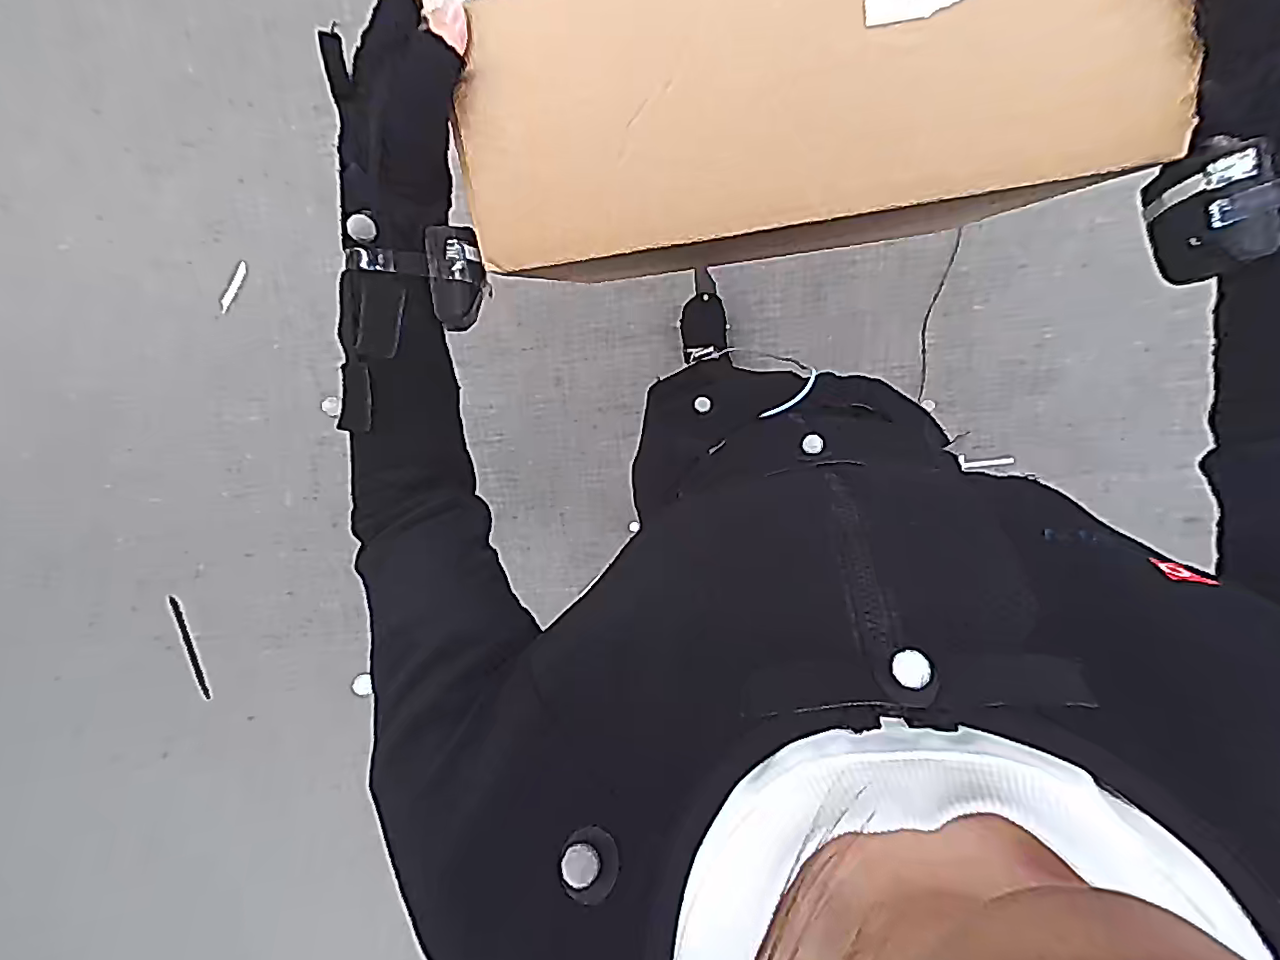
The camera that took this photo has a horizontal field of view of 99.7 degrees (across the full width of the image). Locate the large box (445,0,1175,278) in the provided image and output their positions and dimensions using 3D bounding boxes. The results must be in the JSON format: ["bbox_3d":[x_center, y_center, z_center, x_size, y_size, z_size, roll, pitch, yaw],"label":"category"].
[{"bbox_3d":[0.092,-0.361,0.432,0.408,0.320,0.320,-6,108,9],"label":"large box"}]
